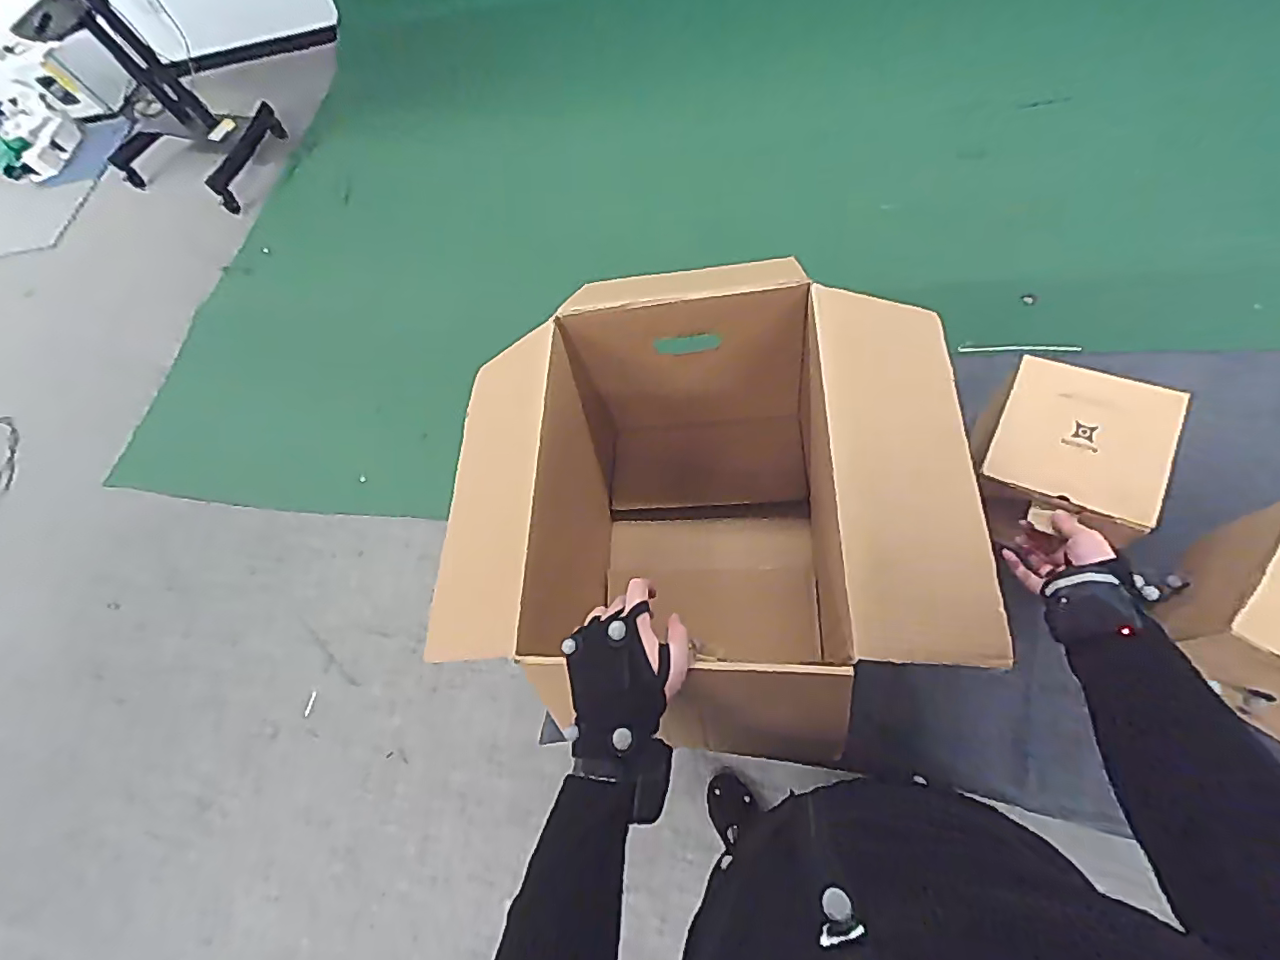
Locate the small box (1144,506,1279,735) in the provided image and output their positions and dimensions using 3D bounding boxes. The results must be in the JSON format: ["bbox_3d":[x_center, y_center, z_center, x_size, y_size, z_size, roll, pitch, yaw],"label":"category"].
[{"bbox_3d":[0.686,0.152,0.559,0.168,0.176,0.179,37,81,25],"label":"small box"}]
